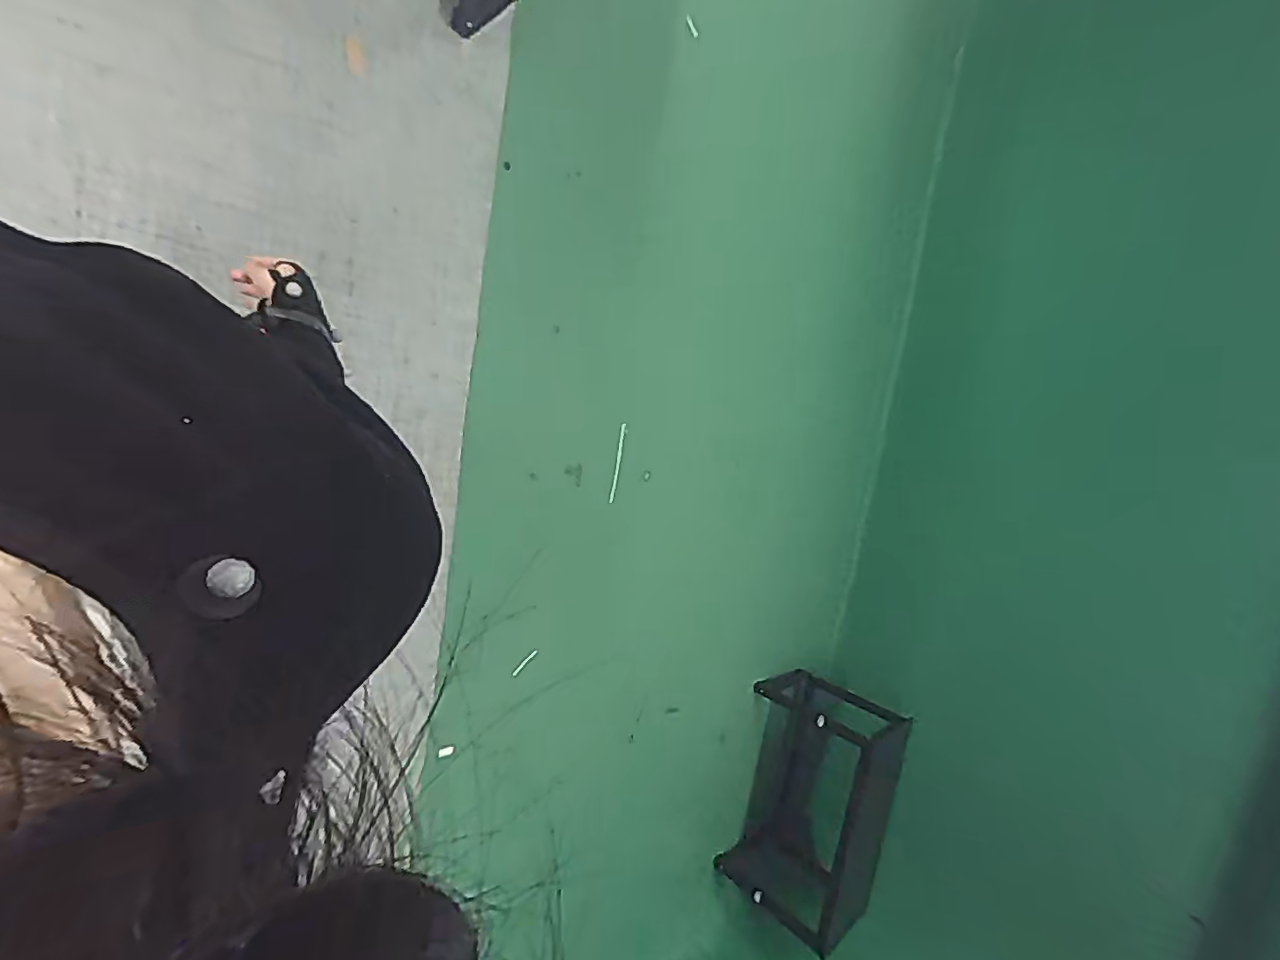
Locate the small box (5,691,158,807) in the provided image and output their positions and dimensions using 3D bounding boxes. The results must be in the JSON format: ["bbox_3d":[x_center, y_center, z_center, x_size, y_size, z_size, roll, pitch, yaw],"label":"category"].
[{"bbox_3d":[-0.984,0.503,0.964,0.179,0.176,0.168,-2,100,-43],"label":"small box"}]

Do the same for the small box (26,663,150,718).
[{"bbox_3d":[-1.095,0.487,1.083,0.168,0.176,0.179,-3,103,-42],"label":"small box"}]

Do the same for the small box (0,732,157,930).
[{"bbox_3d":[-0.877,0.527,0.843,0.179,0.176,0.168,-2,100,-42],"label":"small box"}]
